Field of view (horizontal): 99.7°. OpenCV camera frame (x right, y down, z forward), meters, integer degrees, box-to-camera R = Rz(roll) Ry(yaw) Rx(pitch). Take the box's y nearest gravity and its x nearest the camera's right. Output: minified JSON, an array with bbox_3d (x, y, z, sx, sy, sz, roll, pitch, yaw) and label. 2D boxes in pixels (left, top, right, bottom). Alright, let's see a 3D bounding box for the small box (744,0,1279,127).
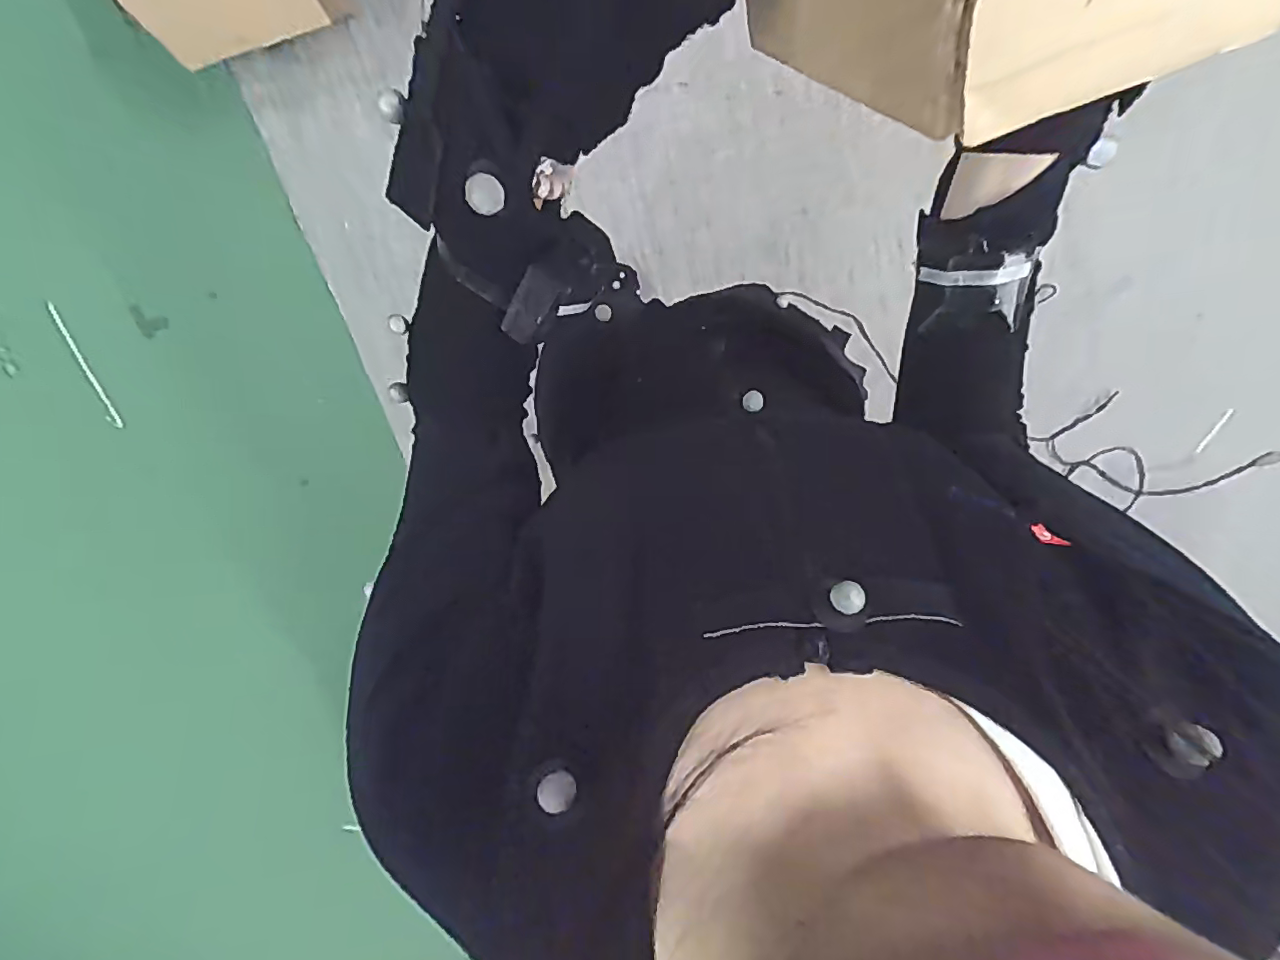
[{"bbox_3d":[0.122,-0.227,0.139,0.179,0.176,0.168,-17,136,5],"label":"small box"}]
